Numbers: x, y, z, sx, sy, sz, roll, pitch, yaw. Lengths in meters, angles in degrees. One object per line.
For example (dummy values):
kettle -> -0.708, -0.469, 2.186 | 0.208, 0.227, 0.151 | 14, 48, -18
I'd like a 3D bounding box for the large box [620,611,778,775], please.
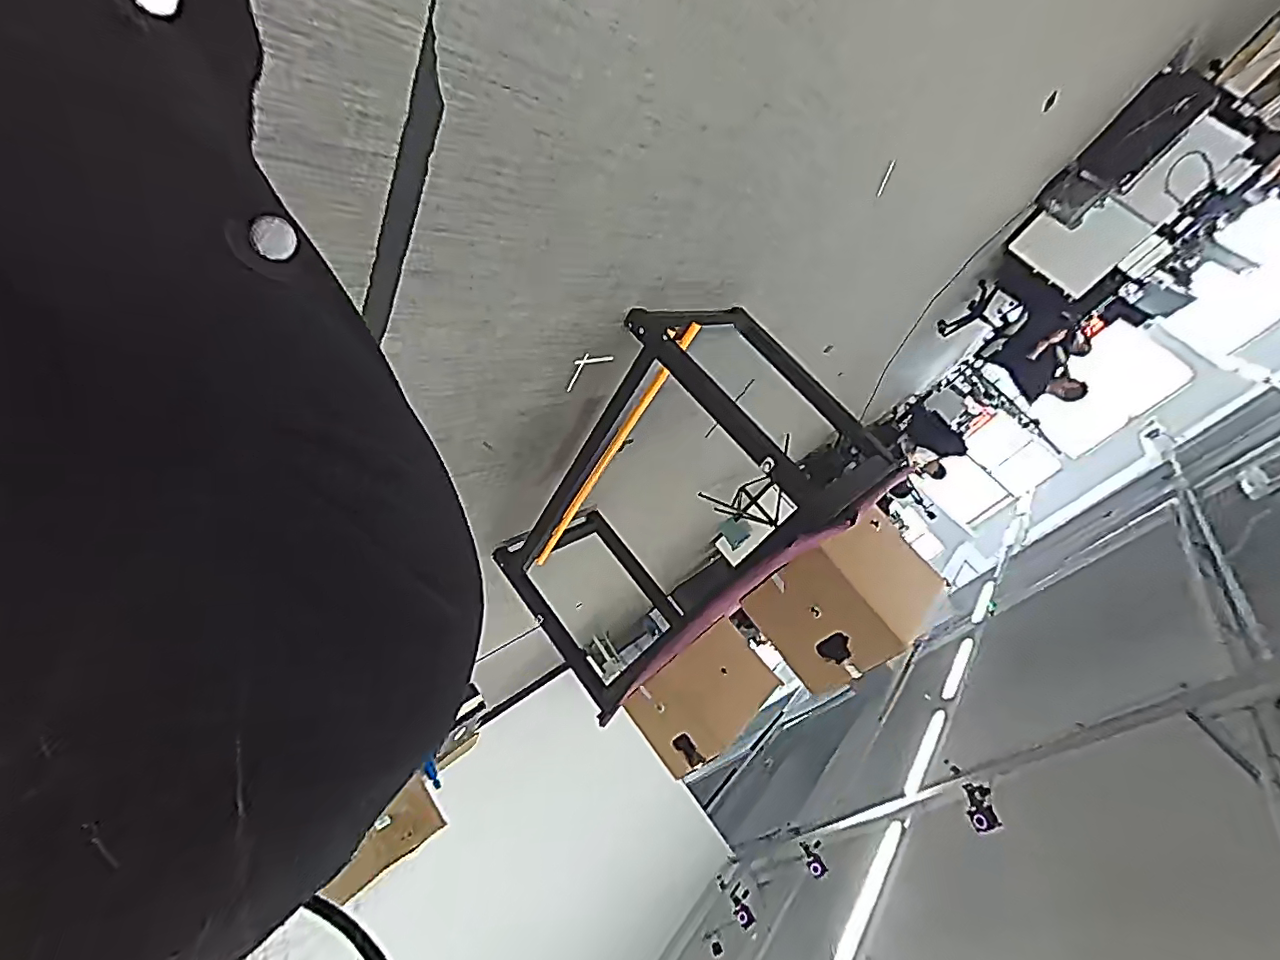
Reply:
large box -> 0.206, 0.735, 1.904 | 0.408, 0.320, 0.320 | -23, 157, -49
